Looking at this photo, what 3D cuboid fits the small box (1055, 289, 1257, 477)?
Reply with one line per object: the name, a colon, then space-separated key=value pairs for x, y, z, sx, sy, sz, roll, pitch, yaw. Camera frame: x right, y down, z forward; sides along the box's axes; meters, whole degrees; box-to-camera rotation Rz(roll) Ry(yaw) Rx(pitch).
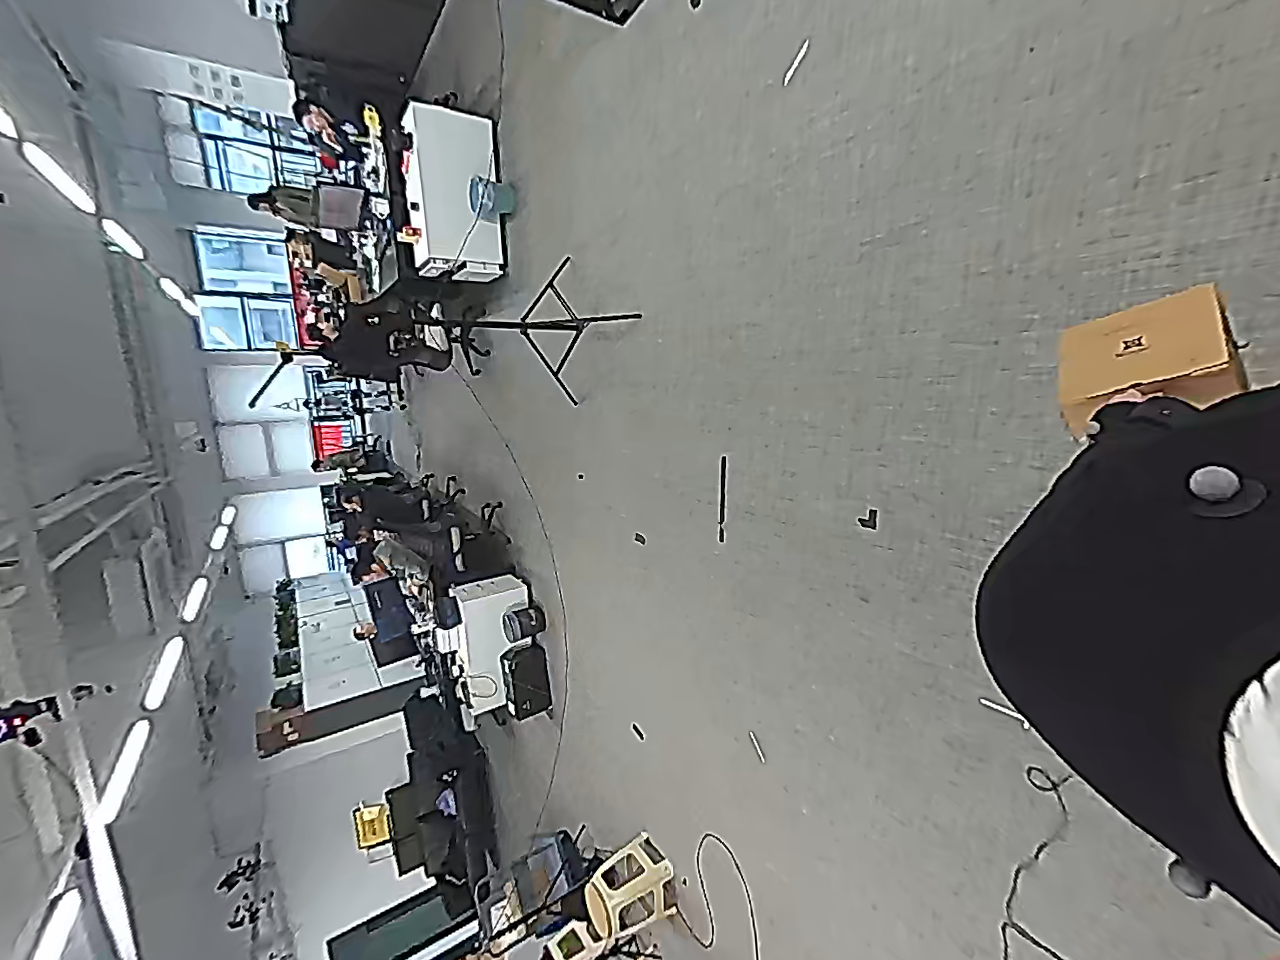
small box: x=0.709 y=-0.120 z=0.751 sx=0.176 sy=0.179 sz=0.168 roll=46 pitch=146 yaw=-21
